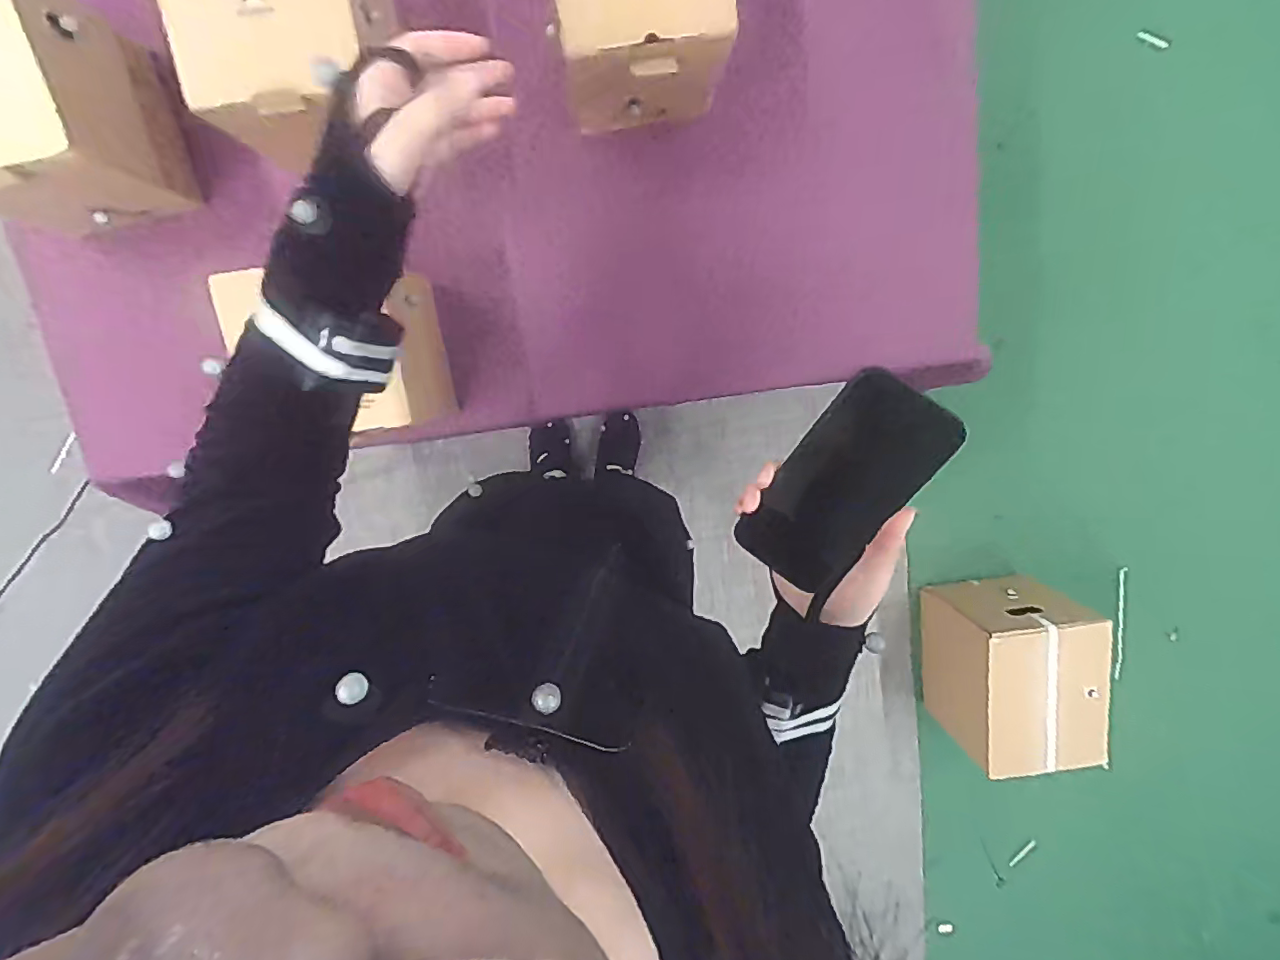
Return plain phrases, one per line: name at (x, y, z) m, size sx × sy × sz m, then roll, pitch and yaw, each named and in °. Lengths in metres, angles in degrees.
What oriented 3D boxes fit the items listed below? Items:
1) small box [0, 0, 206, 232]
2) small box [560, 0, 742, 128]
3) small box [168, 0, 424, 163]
small box at (-0.618, -0.385, 0.566) m, size 0.168 × 0.176 × 0.179 m, roll -13°, pitch 102°, yaw 0°
small box at (0.000, -0.511, 0.569) m, size 0.168 × 0.176 × 0.179 m, roll -10°, pitch 102°, yaw 0°
small box at (-0.345, -0.454, 0.566) m, size 0.168 × 0.176 × 0.179 m, roll -8°, pitch 102°, yaw -2°
